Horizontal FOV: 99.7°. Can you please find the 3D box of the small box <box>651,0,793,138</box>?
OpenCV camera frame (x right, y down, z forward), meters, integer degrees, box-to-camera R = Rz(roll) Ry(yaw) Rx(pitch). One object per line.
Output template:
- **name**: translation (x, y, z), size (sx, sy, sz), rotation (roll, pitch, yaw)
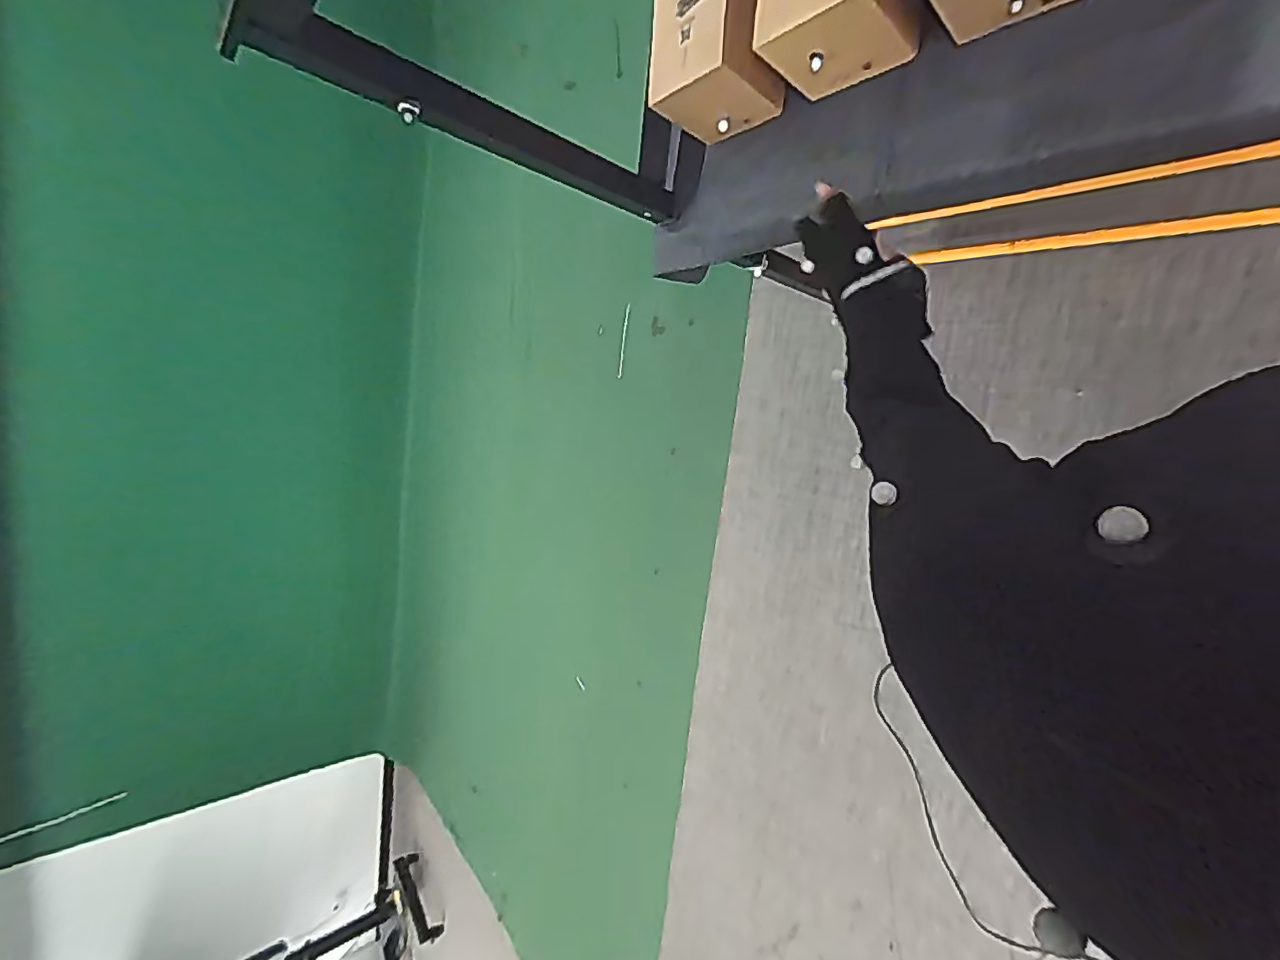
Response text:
- **small box**: translation (0.141, -0.727, 0.916), size (0.168, 0.176, 0.179), rotation (10, 99, 48)
